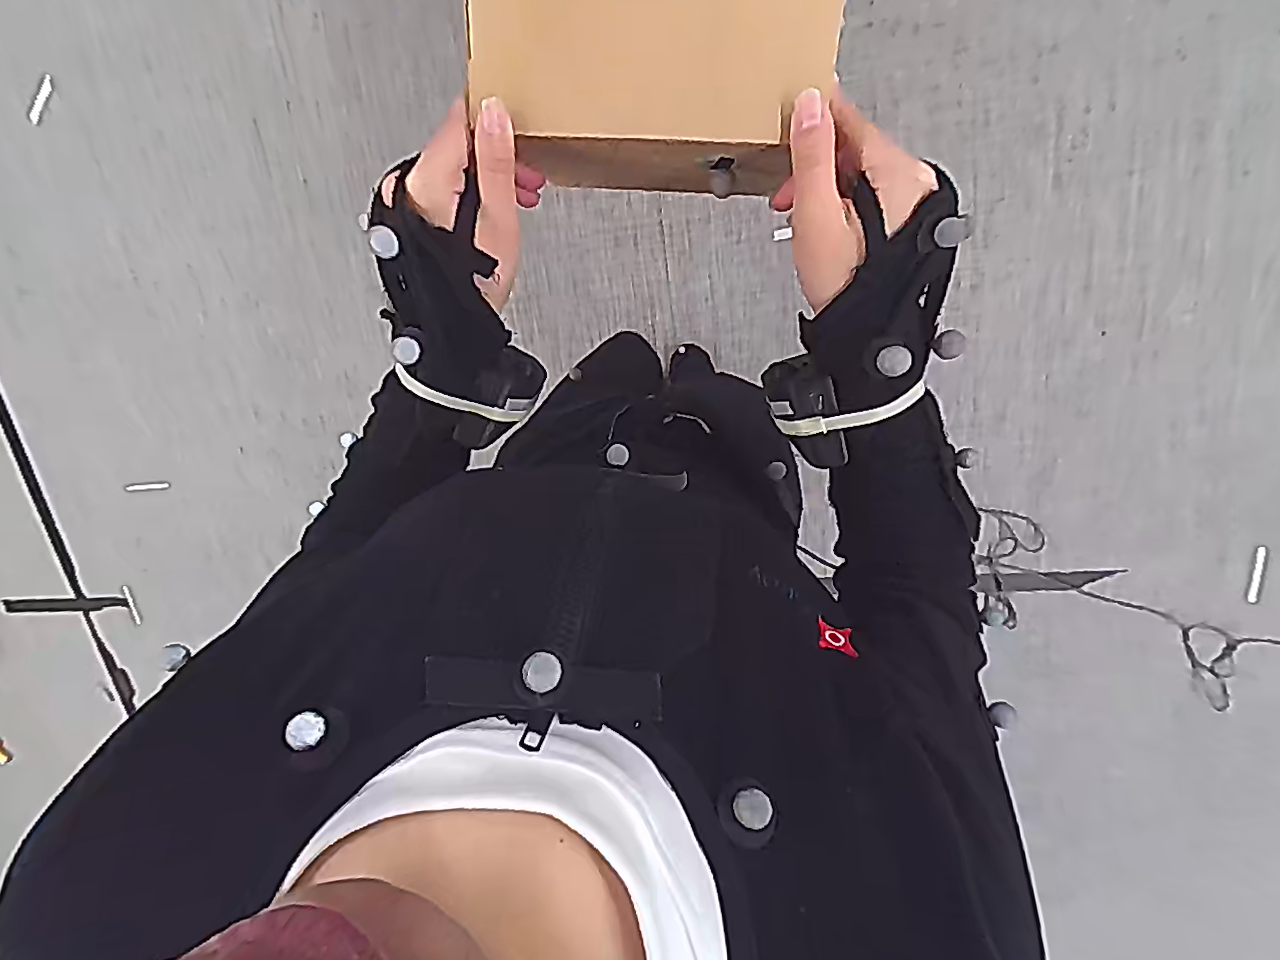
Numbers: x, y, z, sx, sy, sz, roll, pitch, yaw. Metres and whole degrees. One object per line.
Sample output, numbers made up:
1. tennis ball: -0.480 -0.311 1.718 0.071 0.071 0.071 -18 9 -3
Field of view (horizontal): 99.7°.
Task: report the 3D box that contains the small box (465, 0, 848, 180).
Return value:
1. small box: 0.015 -0.277 0.305 0.179 0.176 0.168 6 111 5
